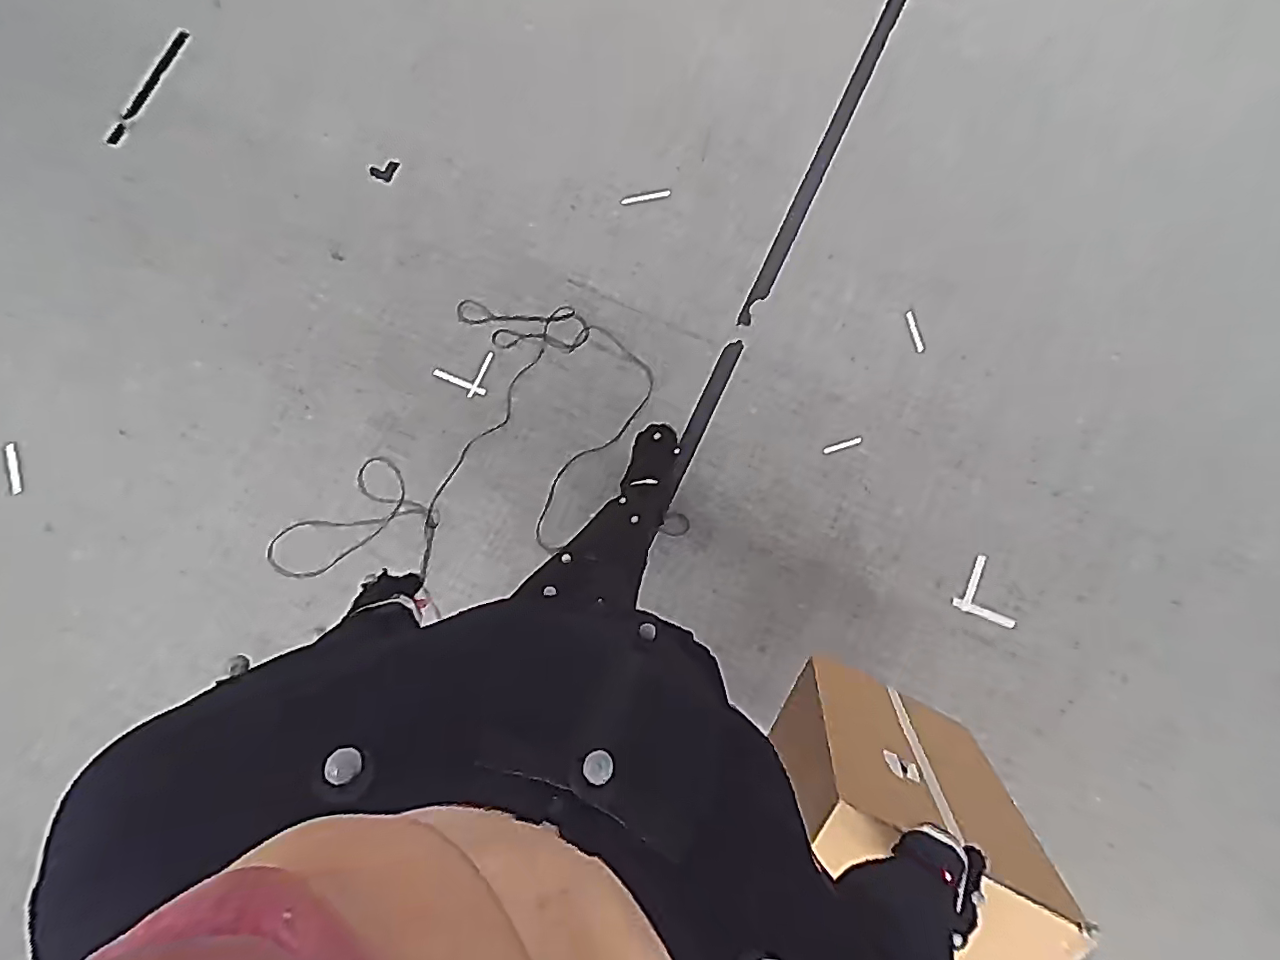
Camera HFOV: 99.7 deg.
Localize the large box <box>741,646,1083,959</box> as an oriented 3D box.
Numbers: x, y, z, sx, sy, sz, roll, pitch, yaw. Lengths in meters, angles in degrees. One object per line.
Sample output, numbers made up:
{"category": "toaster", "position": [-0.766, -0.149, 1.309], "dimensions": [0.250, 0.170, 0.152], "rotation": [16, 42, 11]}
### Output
{"category": "large box", "position": [0.371, 0.552, 0.882], "dimensions": [0.320, 0.408, 0.320], "rotation": [24, 104, 8]}
